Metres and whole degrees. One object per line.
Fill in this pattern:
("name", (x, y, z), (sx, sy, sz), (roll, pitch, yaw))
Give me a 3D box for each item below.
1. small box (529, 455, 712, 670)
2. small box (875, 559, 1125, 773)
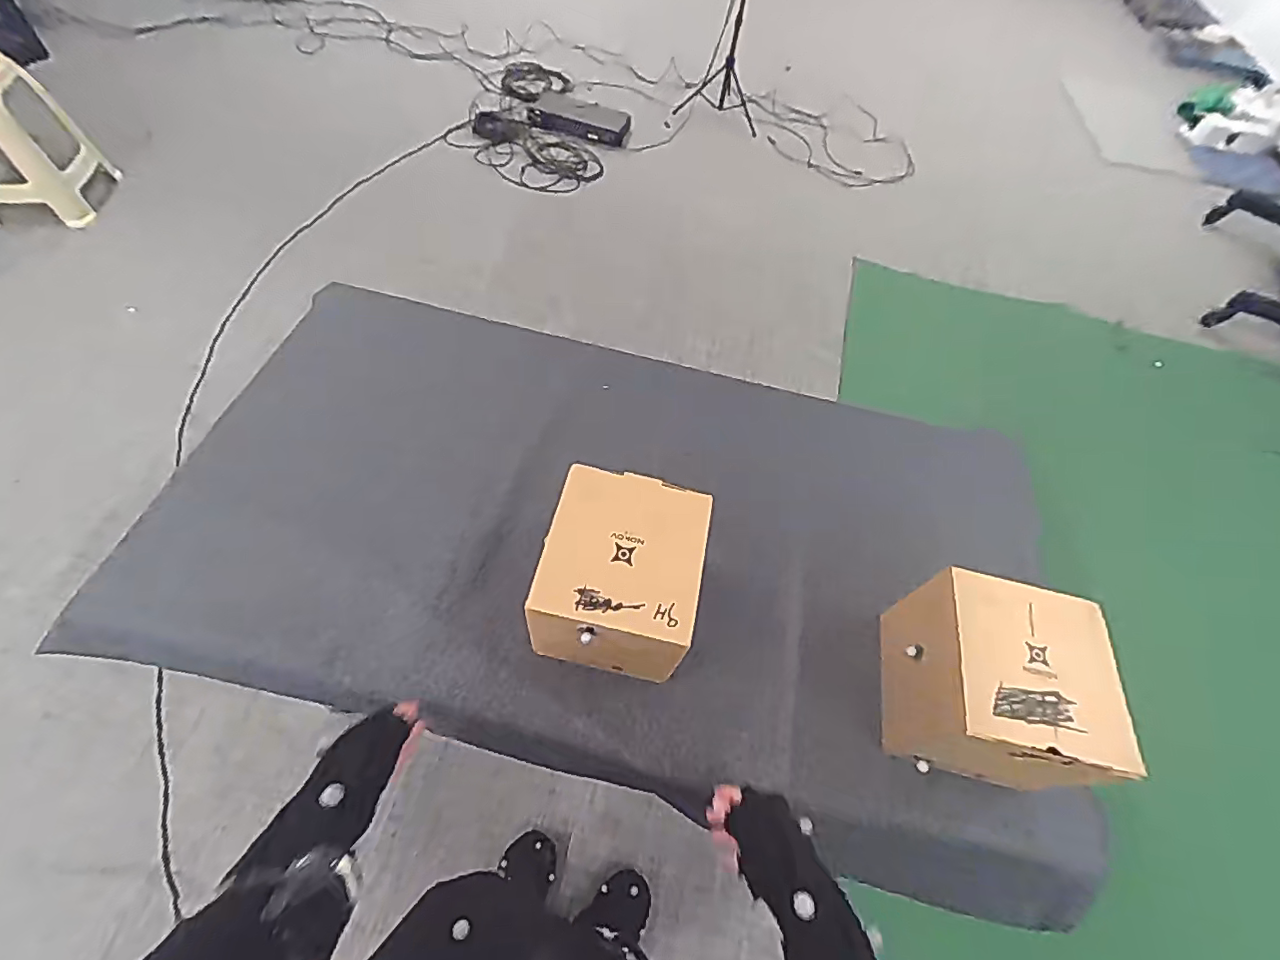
("small box", (-0.024, 0.103, 0.638), (0.168, 0.176, 0.179), (14, 58, 1))
("small box", (0.386, 0.219, 0.619), (0.168, 0.176, 0.179), (15, 57, 2))
